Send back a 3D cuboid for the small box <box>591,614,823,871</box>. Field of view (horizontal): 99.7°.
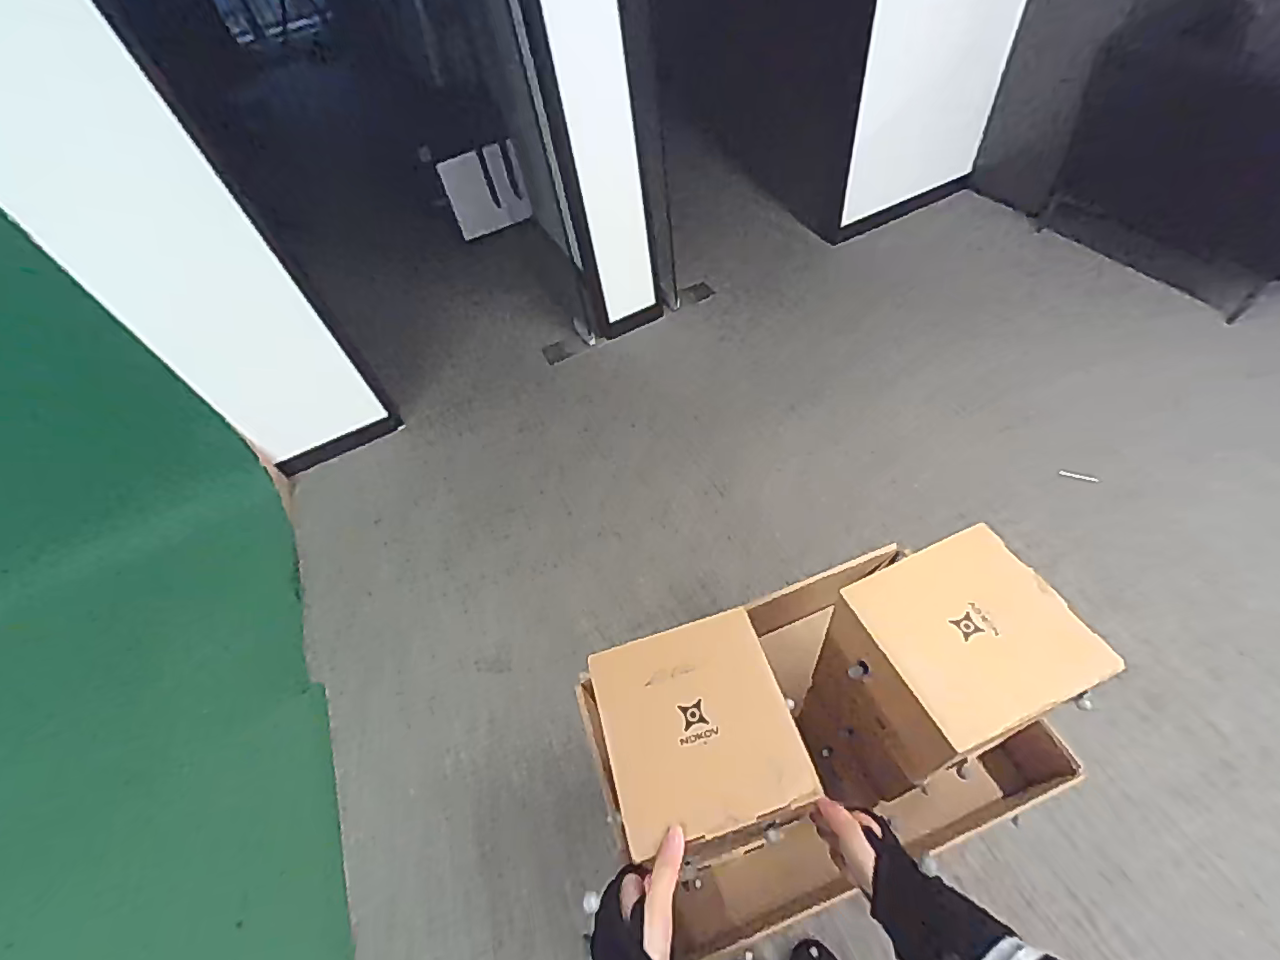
[{"bbox_3d":[0.061,0.268,0.545,0.168,0.176,0.179,-16,52,-5],"label":"small box"}]

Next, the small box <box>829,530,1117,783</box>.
[{"bbox_3d":[0.317,0.189,0.565,0.179,0.176,0.168,-23,52,-8],"label":"small box"}]

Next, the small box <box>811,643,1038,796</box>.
[{"bbox_3d":[0.344,0.283,0.696,0.168,0.176,0.179,-23,54,-8],"label":"small box"}]
